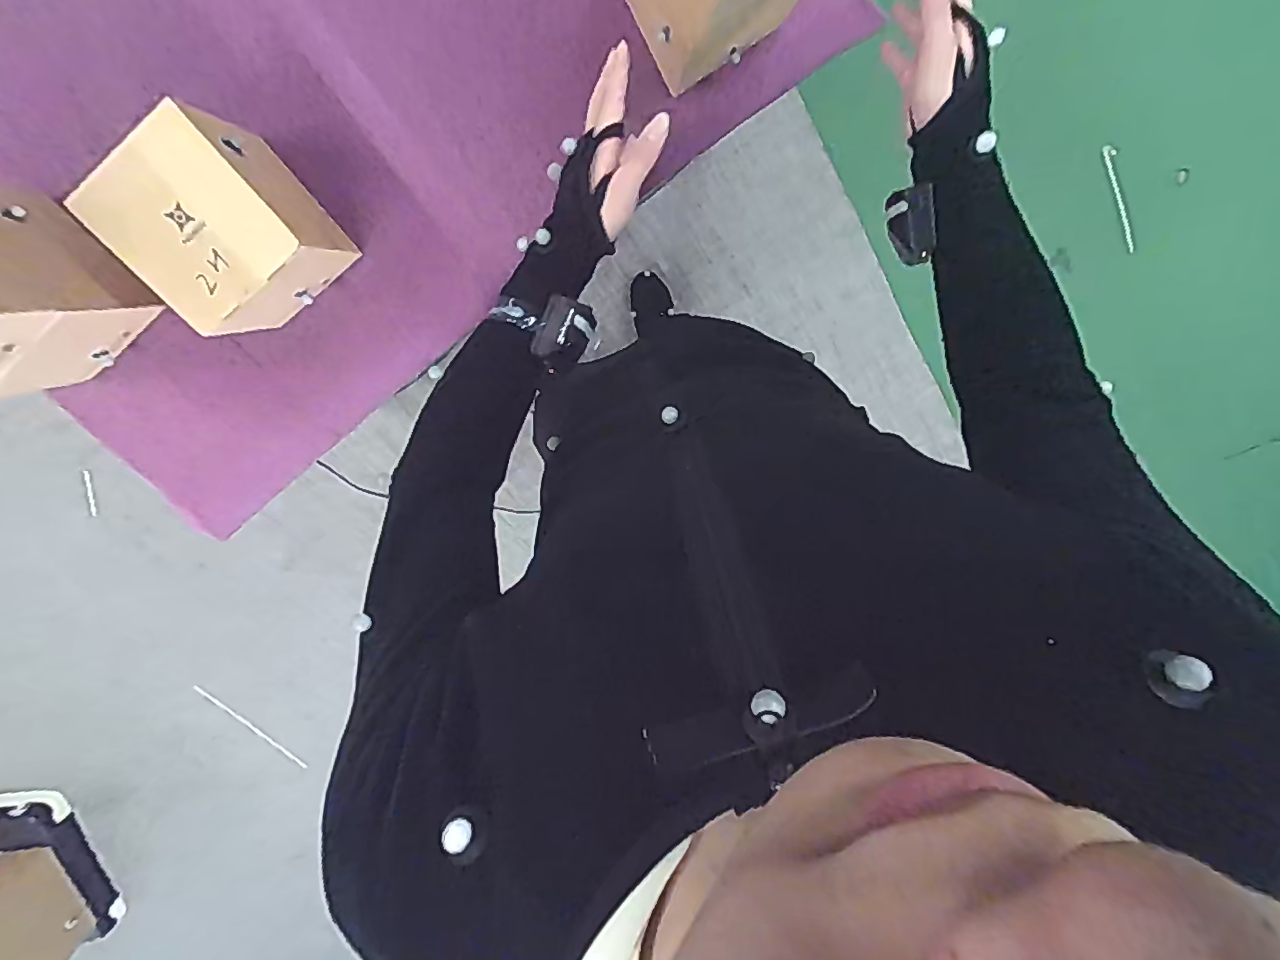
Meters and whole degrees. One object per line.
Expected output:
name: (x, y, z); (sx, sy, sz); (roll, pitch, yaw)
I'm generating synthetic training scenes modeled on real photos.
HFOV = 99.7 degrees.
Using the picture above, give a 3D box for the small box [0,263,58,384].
small box: (-0.748, -0.168, 0.511); (0.168, 0.176, 0.179); (-37, 109, 9)

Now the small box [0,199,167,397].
small box: (-0.762, -0.222, 0.665); (0.168, 0.176, 0.179); (-37, 109, 9)

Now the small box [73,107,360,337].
small box: (-0.492, -0.297, 0.661); (0.168, 0.176, 0.179); (-36, 109, 8)

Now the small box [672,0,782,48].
small box: (0.089, -0.526, 0.452); (0.168, 0.176, 0.179); (-30, 108, 8)
